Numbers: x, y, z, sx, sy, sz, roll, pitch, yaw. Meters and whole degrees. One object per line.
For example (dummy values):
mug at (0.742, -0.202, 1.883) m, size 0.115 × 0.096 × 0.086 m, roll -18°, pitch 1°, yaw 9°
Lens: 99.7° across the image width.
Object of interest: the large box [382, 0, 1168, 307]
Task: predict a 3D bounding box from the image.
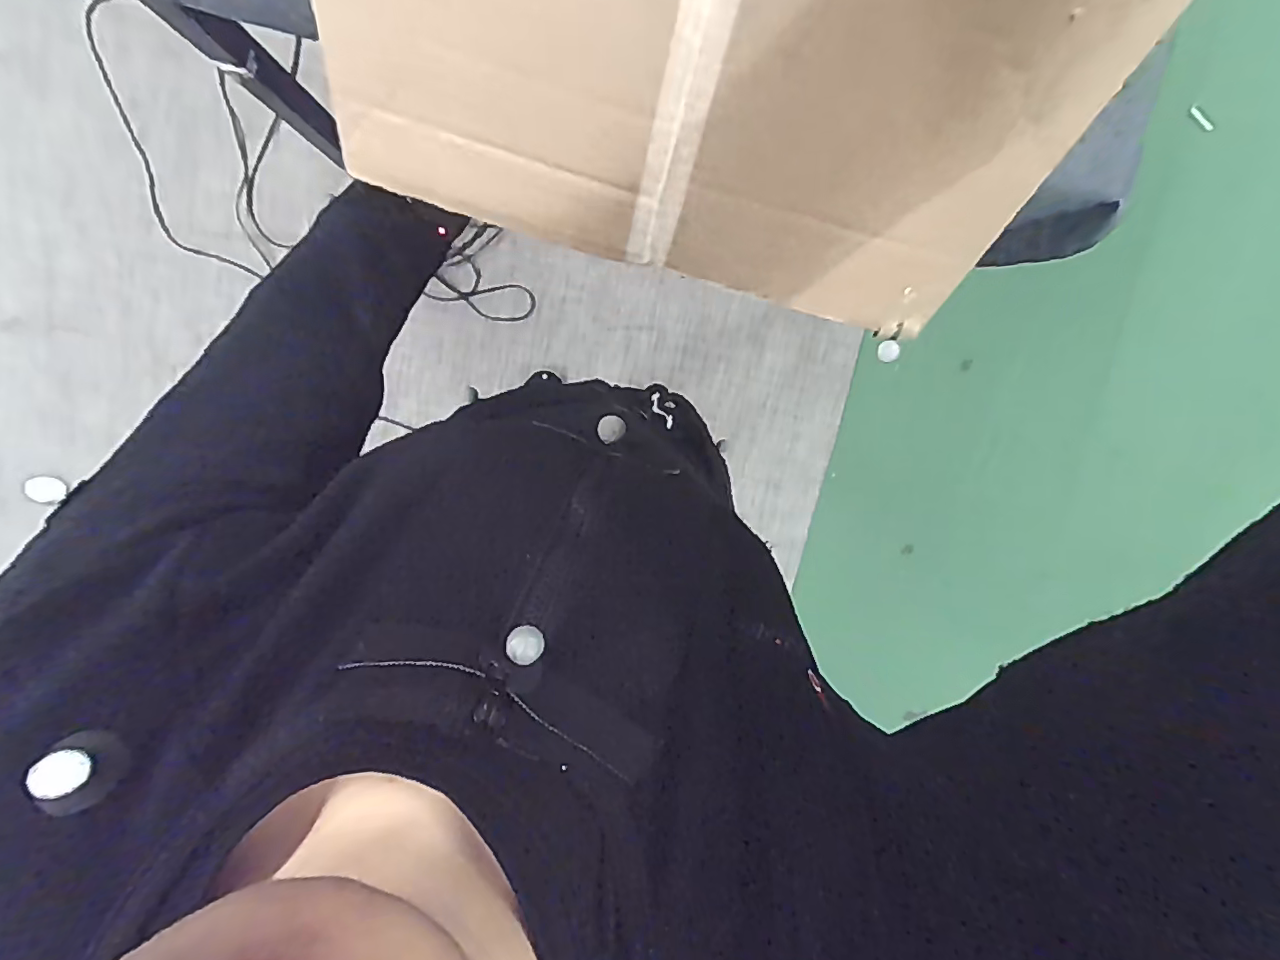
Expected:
large box at (0.079, -0.363, 0.231) m, size 0.320 × 0.408 × 0.320 m, roll 14°, pitch 55°, yaw -5°
